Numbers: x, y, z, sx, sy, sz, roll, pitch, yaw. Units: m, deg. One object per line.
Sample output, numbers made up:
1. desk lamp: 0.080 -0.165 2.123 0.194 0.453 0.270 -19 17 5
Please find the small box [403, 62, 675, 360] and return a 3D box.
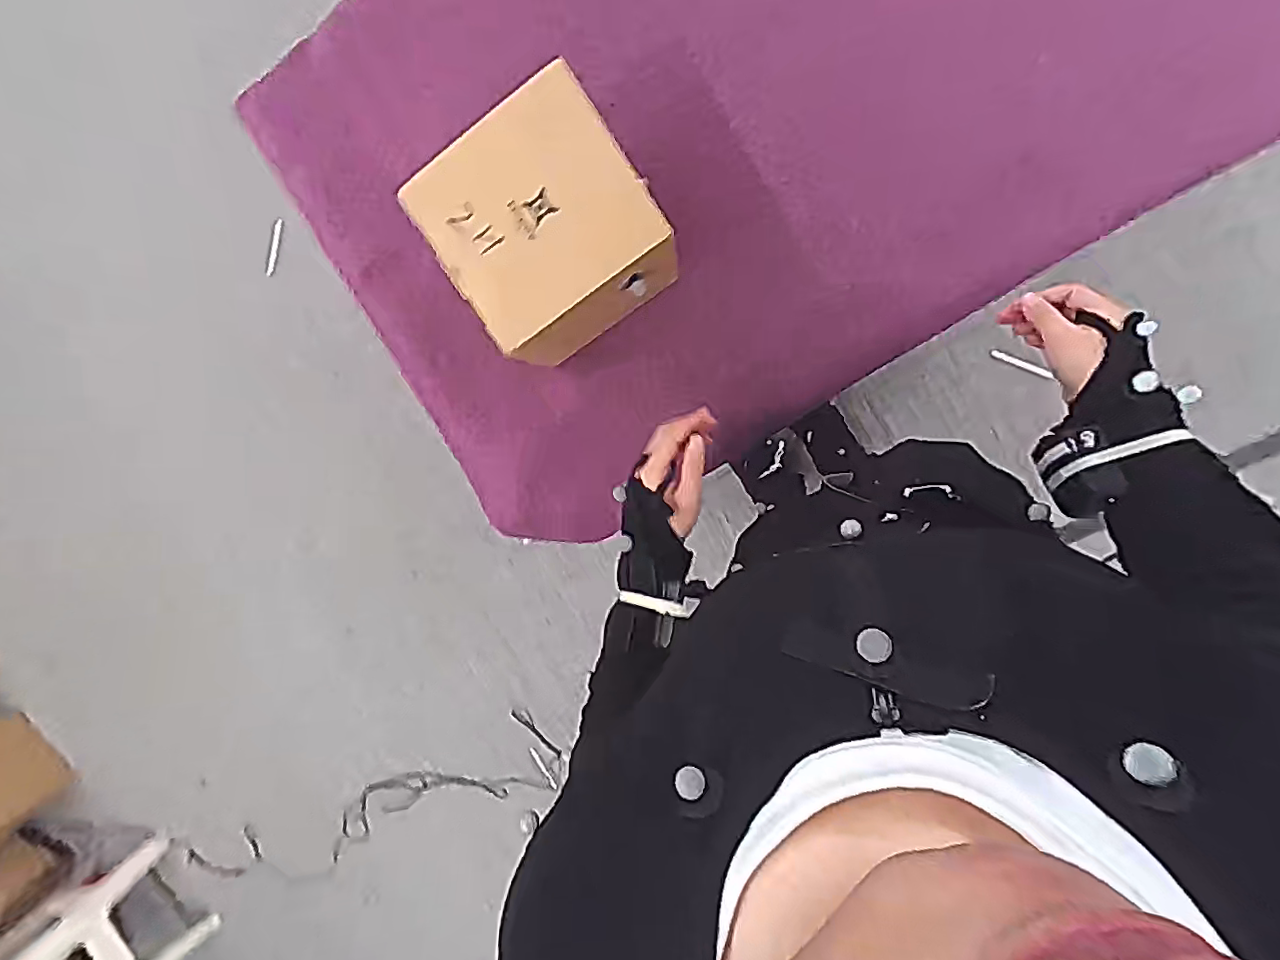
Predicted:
1. small box: -0.080 -0.236 0.529 0.179 0.176 0.168 -33 93 10
